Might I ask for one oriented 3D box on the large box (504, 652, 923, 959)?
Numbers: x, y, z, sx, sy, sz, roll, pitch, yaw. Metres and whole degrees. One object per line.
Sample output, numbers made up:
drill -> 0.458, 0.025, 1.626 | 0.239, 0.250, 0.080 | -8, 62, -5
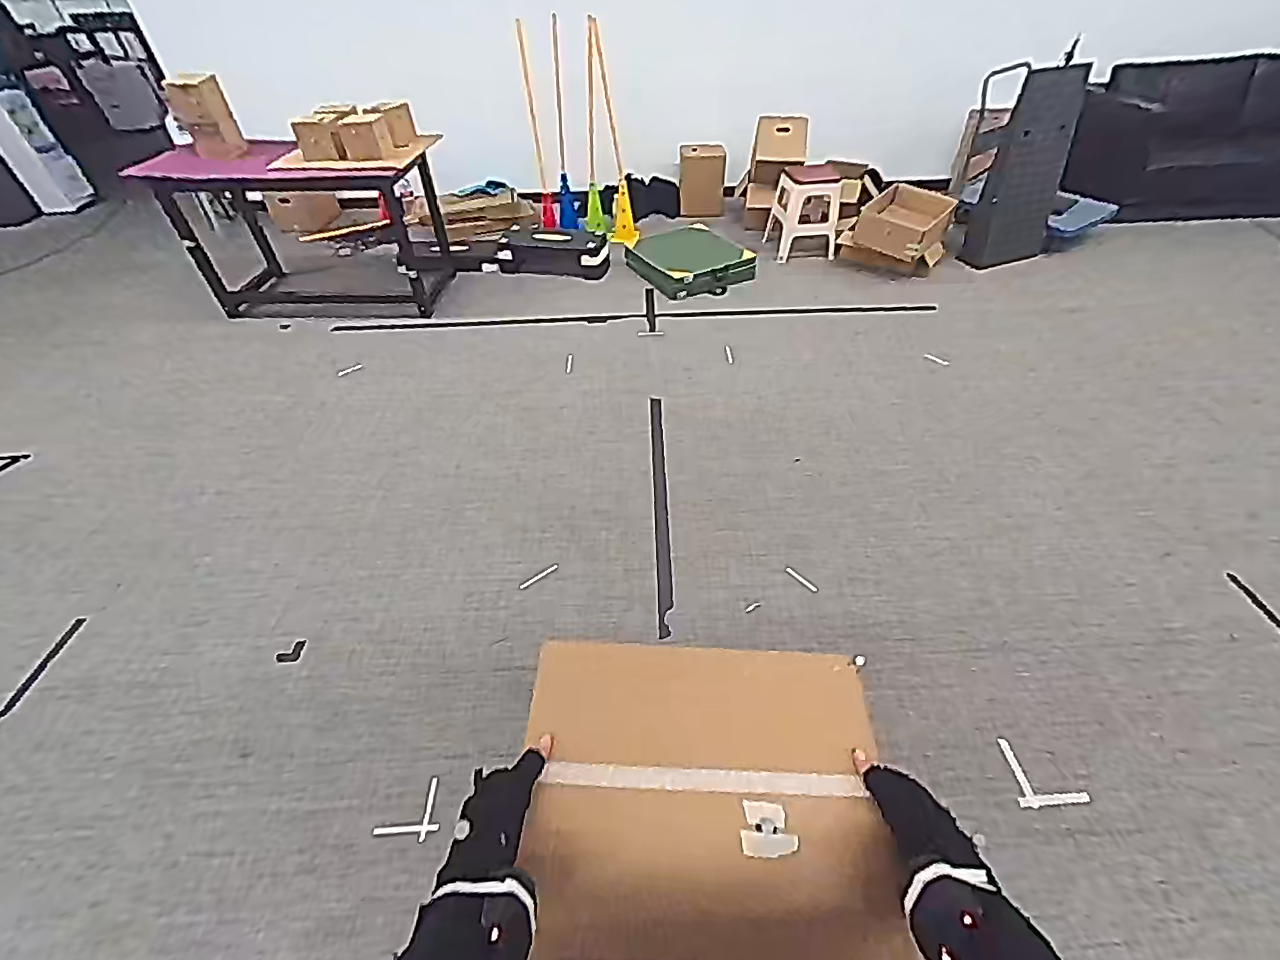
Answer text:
large box -> 0.067, 0.447, 0.711 | 0.408, 0.320, 0.320 | 3, 46, 0
